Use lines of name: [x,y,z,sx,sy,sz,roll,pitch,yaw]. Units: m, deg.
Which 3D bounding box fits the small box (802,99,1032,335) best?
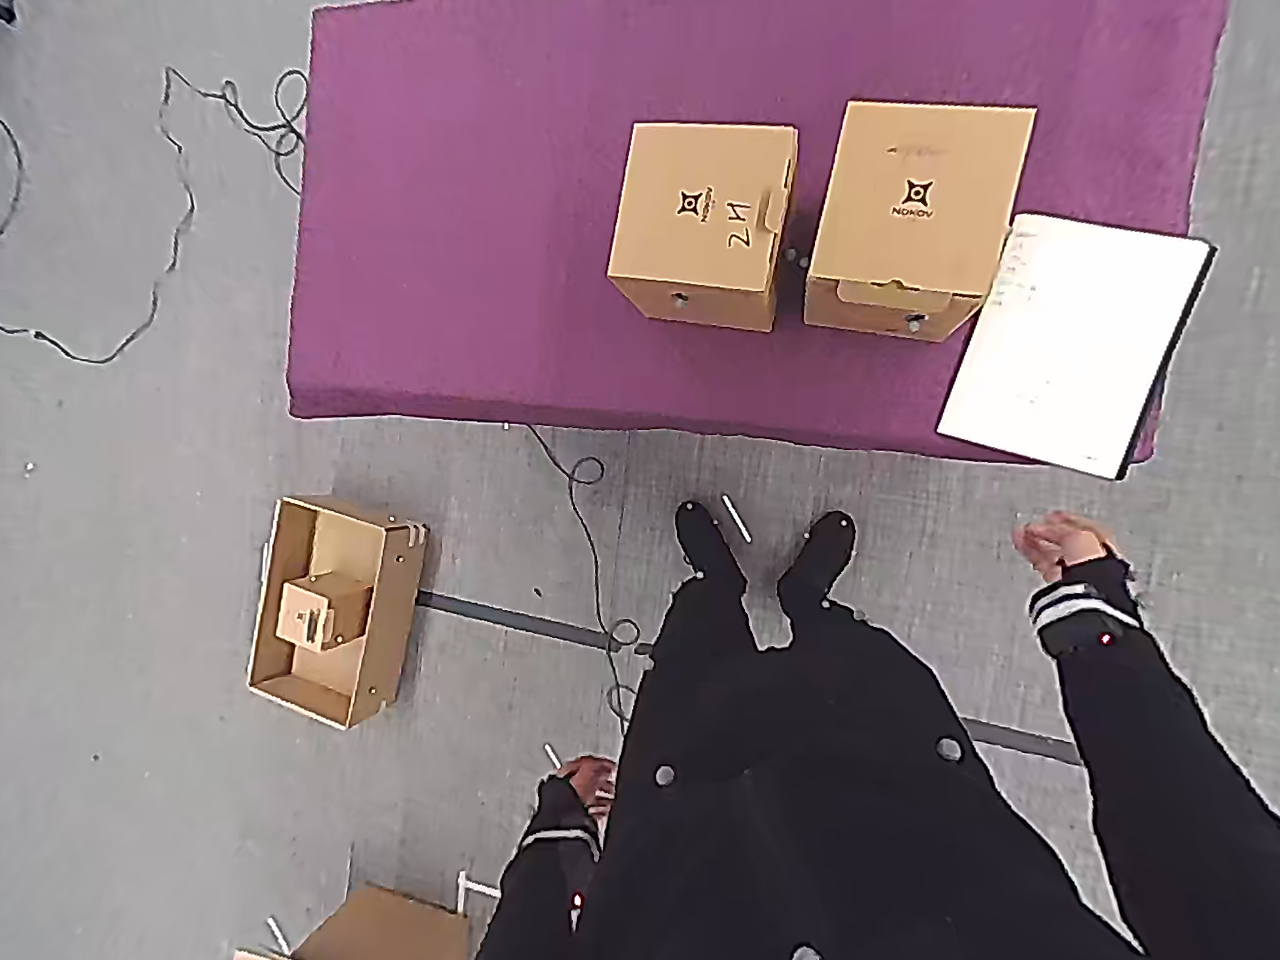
small box: [0.278,-0.269,0.586,0.168,0.176,0.179,13,94,15]
